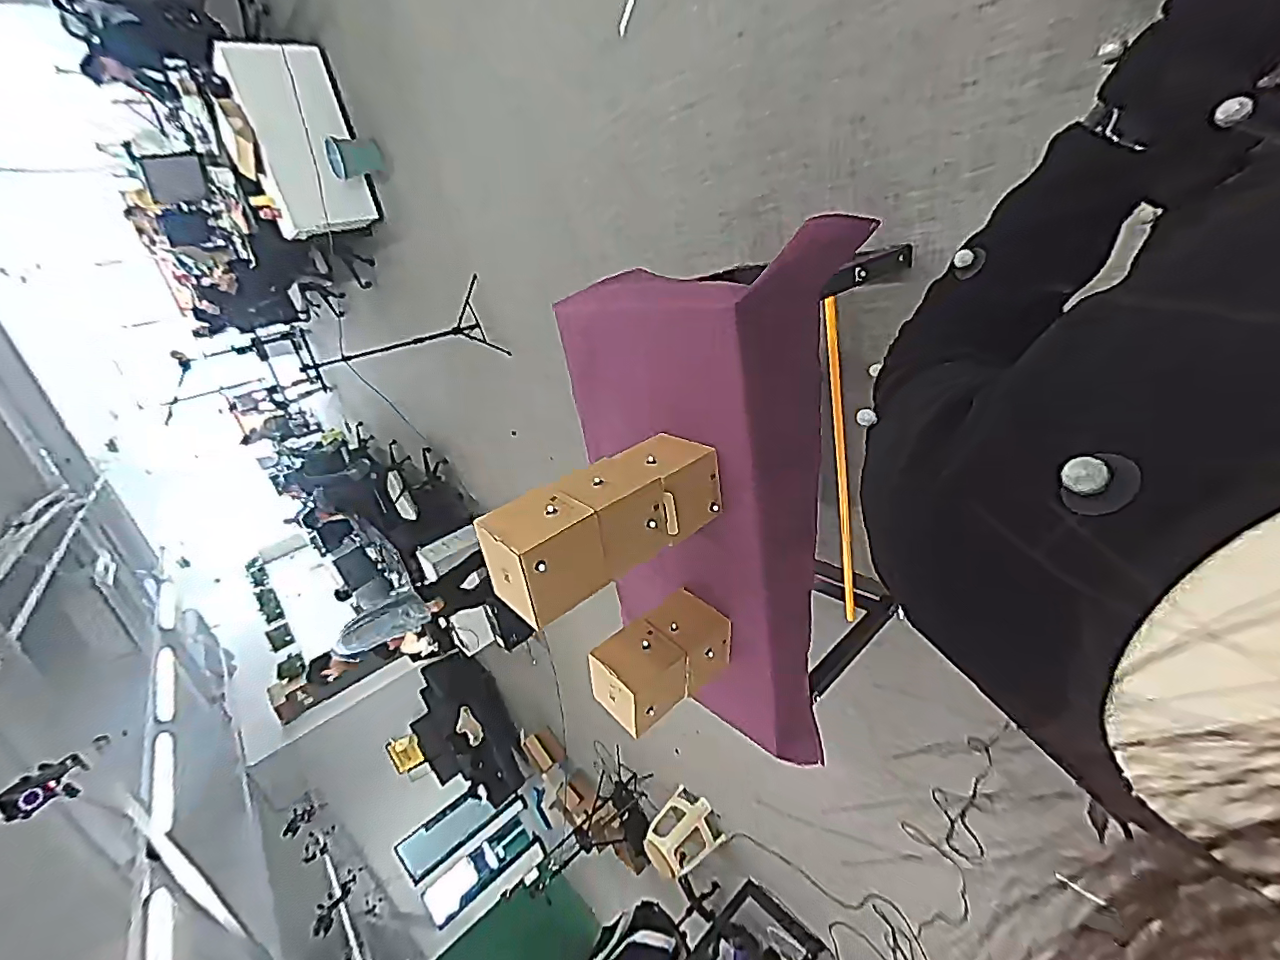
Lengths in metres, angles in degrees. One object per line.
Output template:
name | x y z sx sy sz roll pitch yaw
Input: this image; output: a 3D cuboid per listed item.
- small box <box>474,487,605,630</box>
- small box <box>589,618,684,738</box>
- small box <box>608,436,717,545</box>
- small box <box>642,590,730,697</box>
small box | -0.182 0.140 1.019 0.168 0.176 0.179 23 131 43
small box | -0.005 0.480 1.328 0.168 0.176 0.179 30 134 38
small box | 0.057 0.014 1.203 0.179 0.176 0.168 22 130 46
small box | 0.118 0.420 1.420 0.179 0.176 0.168 29 134 40
